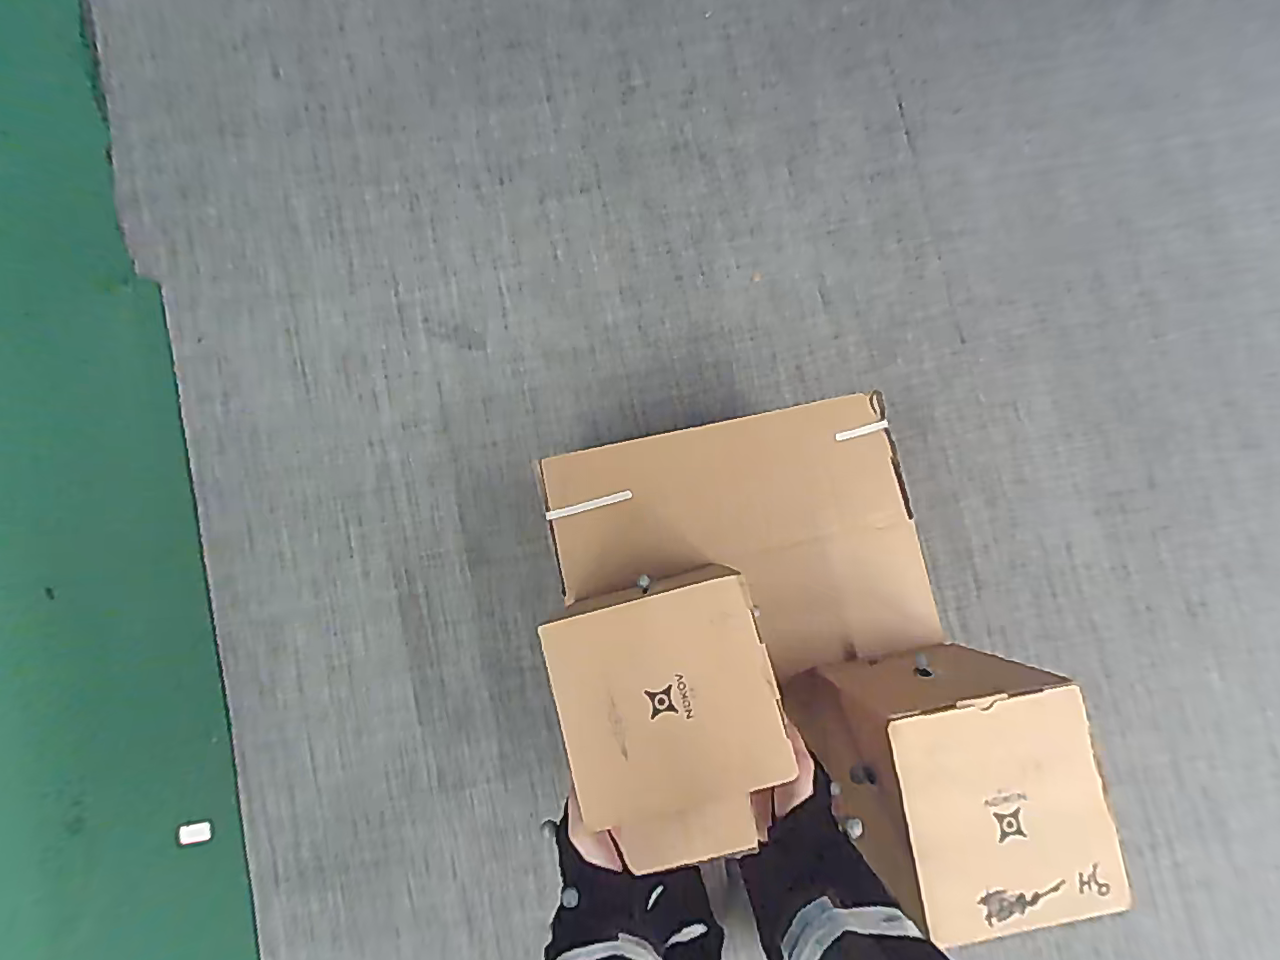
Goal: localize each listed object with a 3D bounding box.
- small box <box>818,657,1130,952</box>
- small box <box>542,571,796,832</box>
[{"bbox_3d":[0.283,0.272,0.503,0.168,0.176,0.179,-9,83,-3],"label":"small box"},{"bbox_3d":[0.022,0.186,0.511,0.179,0.176,0.168,-15,82,0],"label":"small box"}]
